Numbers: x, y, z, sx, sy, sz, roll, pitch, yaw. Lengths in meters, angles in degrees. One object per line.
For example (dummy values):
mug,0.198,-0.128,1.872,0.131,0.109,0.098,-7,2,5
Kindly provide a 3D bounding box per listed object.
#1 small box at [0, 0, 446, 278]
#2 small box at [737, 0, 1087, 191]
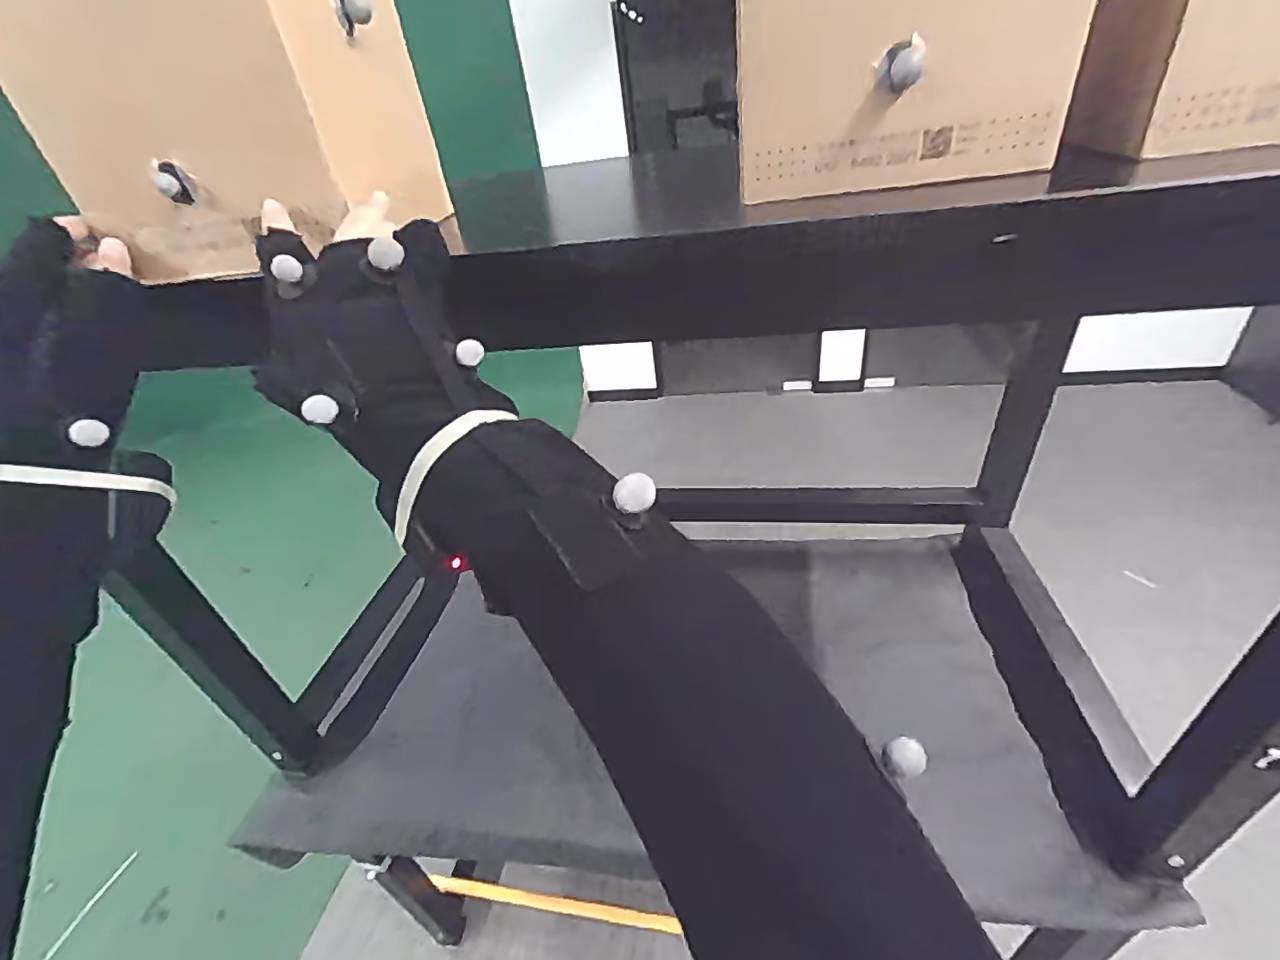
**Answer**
small box,-0.253,-0.247,0.369,0.168,0.176,0.179,-5,34,5
small box,0.145,-0.284,0.331,0.168,0.176,0.179,-1,34,11
